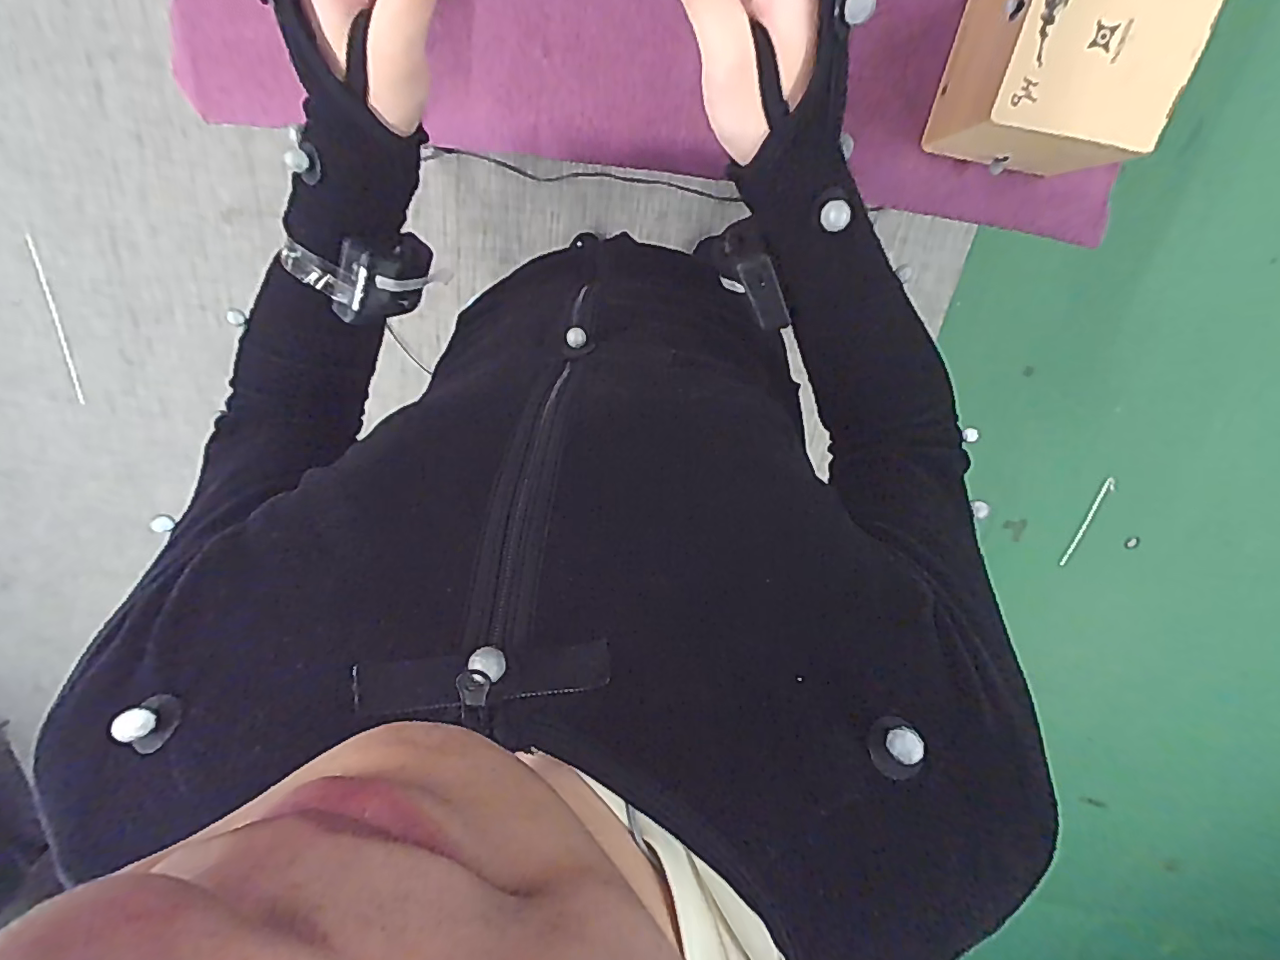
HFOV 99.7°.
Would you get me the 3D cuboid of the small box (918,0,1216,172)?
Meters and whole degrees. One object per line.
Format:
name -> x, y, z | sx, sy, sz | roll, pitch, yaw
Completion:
small box -> 0.451, -0.454, 0.598 | 0.179, 0.176, 0.168 | 10, 112, -2
